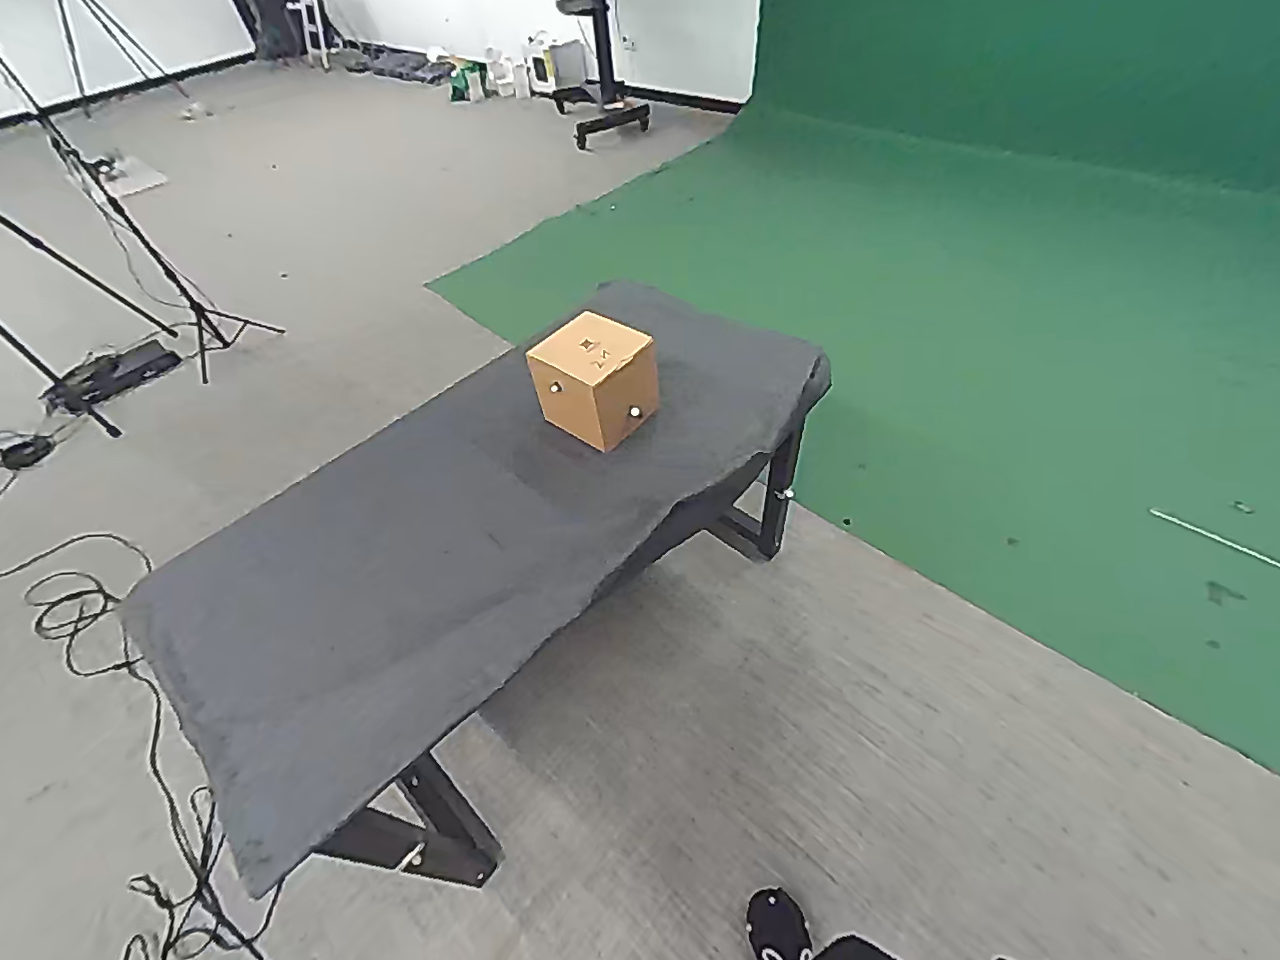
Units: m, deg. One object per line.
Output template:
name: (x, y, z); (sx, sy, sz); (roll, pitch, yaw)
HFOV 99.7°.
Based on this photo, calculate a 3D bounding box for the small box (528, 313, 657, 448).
small box: (-0.085, -0.189, 1.045); (0.179, 0.176, 0.168); (31, 59, 28)
